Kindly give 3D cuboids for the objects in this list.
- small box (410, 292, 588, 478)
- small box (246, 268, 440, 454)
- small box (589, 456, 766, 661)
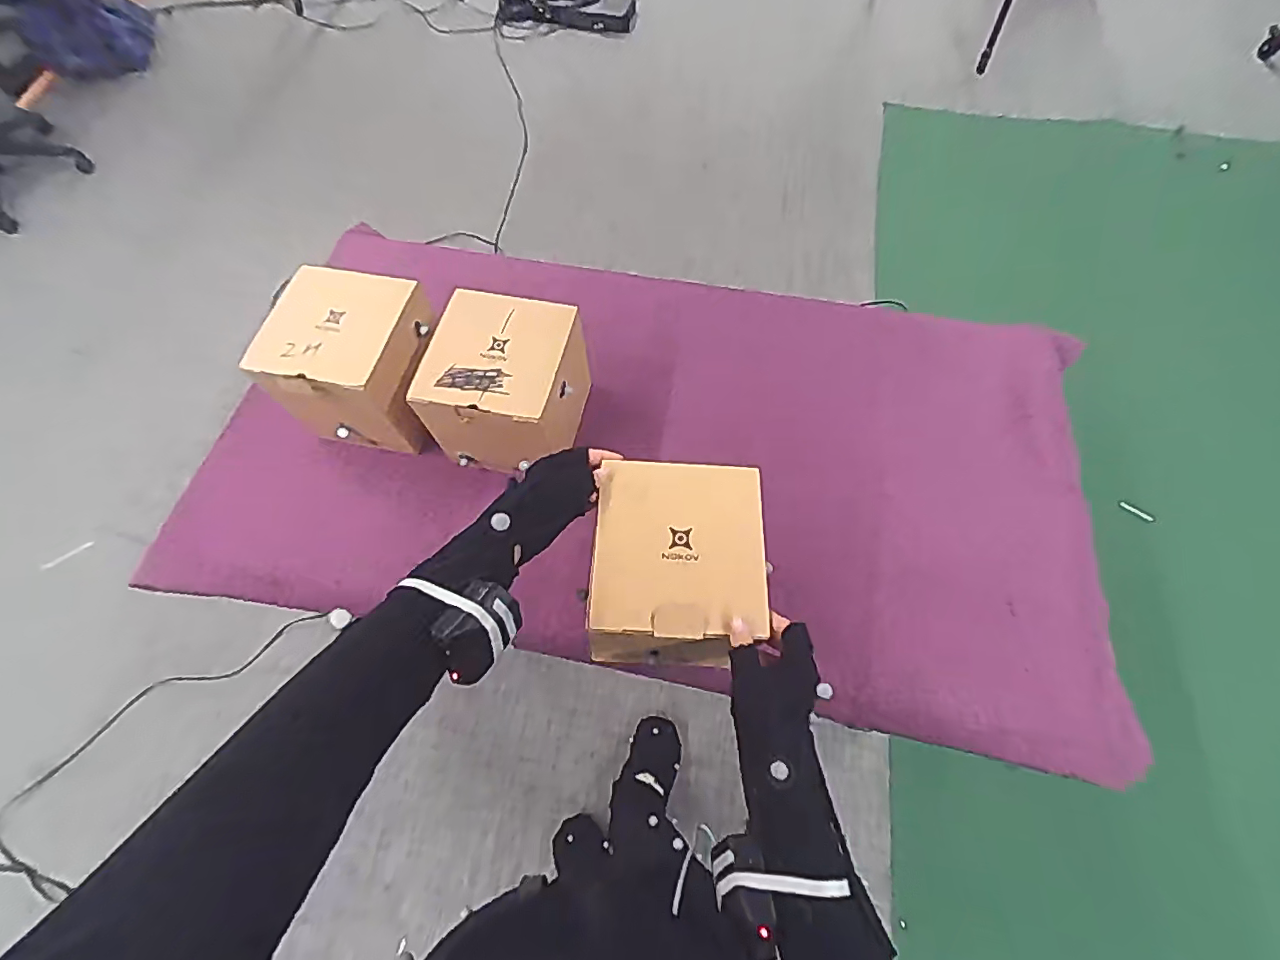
[{"bbox_3d":[-0.173,-0.121,0.732,0.168,0.176,0.179,11,65,6],"label":"small box"},{"bbox_3d":[-0.383,-0.161,0.755,0.168,0.176,0.179,10,66,6],"label":"small box"},{"bbox_3d":[0.034,0.093,0.598,0.168,0.176,0.179,3,64,-1],"label":"small box"}]
